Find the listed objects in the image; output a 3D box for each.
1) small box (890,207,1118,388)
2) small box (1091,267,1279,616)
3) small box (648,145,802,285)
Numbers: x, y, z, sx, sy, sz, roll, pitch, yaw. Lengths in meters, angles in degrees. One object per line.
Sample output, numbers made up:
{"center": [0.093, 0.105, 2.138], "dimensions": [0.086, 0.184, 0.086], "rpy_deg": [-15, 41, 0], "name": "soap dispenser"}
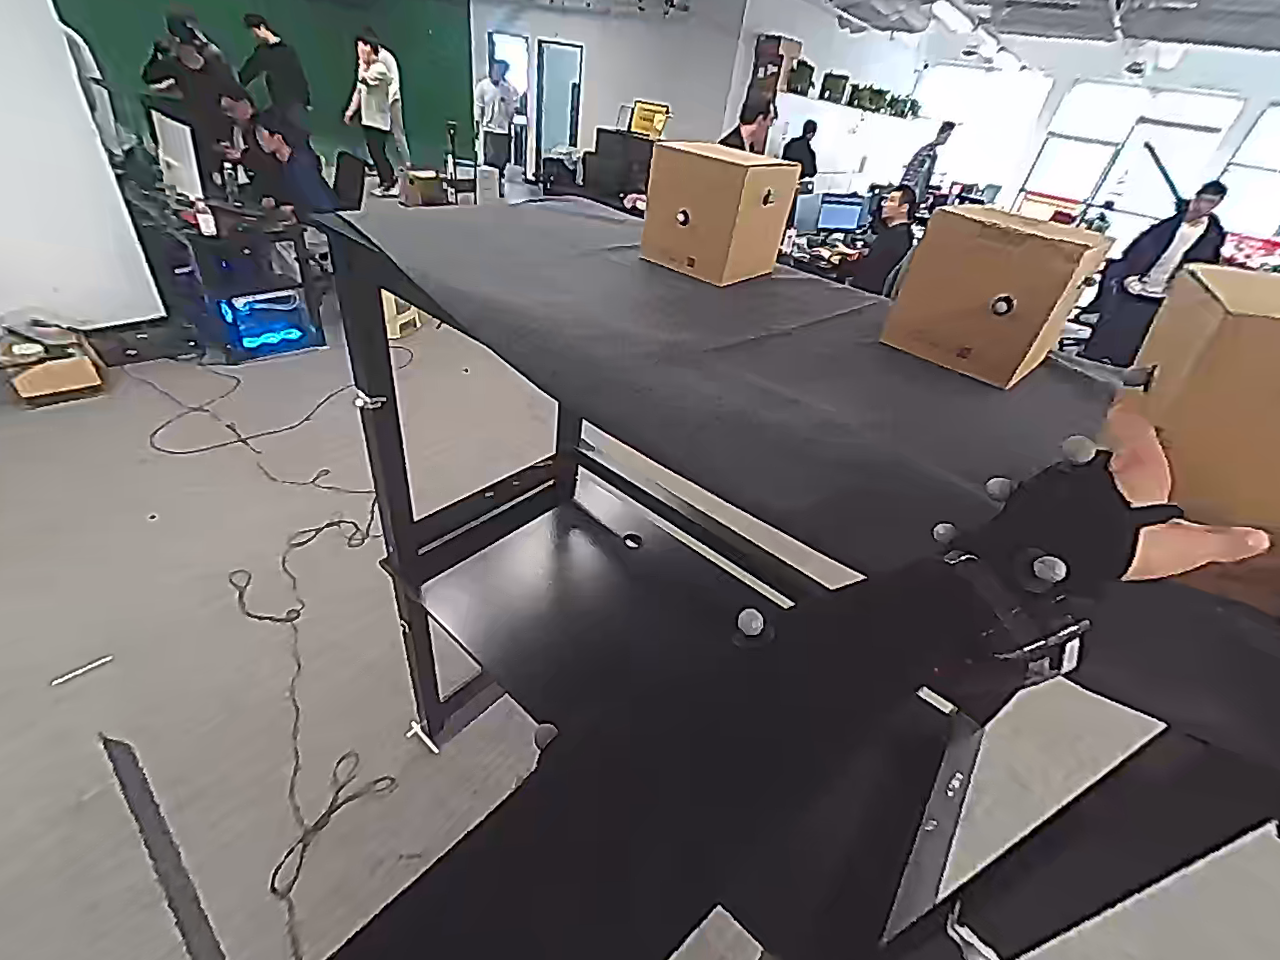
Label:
{"center": [0.447, -0.234, 0.686], "dimensions": [0.179, 0.176, 0.168], "rpy_deg": [-25, 49, -39], "name": "small box"}
{"center": [0.422, -0.026, 0.344], "dimensions": [0.168, 0.176, 0.179], "rpy_deg": [20, 36, 28], "name": "small box"}
{"center": [0.127, -0.424, 0.864], "dimensions": [0.168, 0.176, 0.179], "rpy_deg": [32, 41, 26], "name": "small box"}
